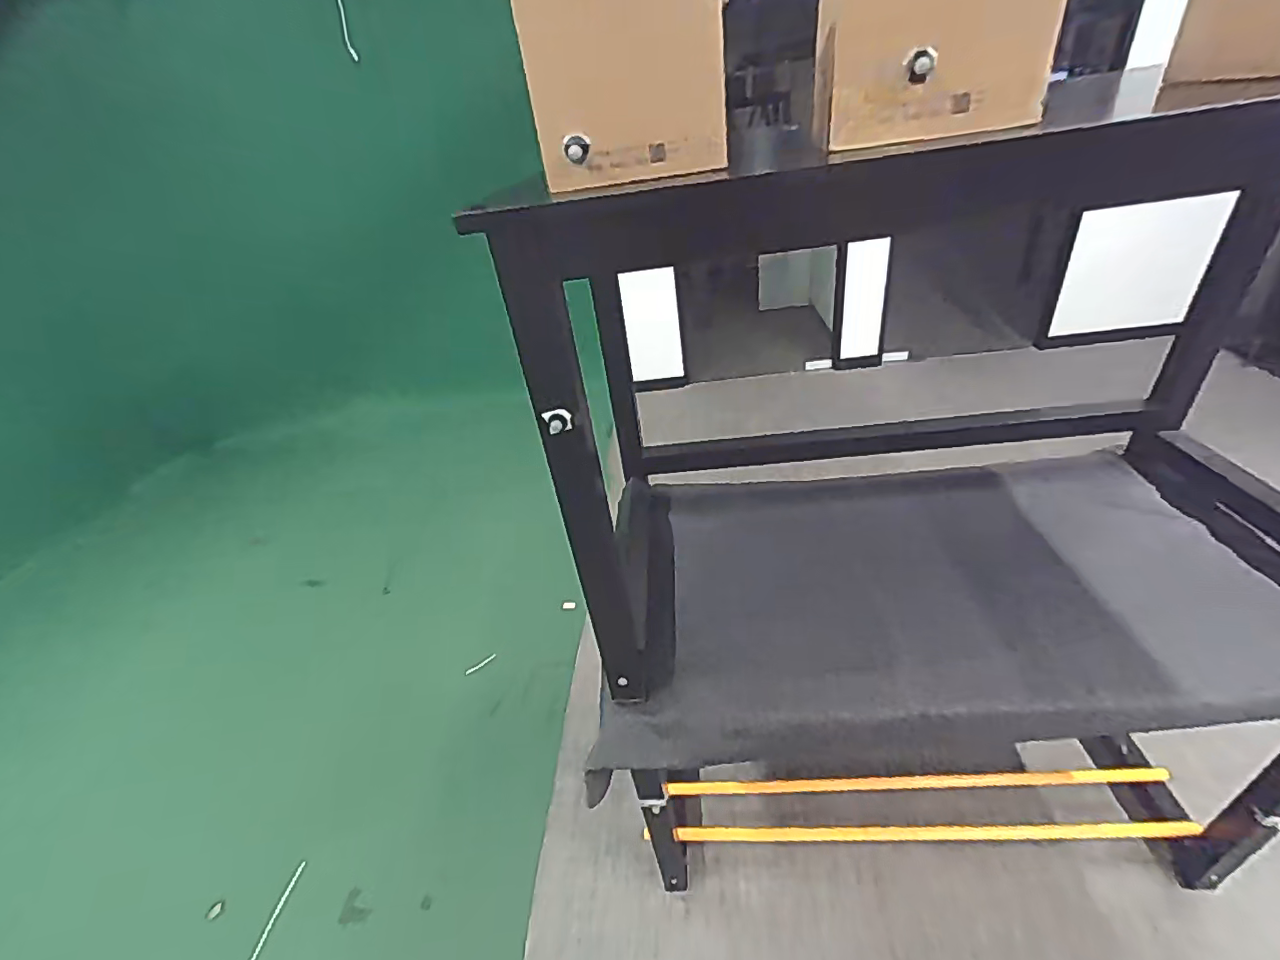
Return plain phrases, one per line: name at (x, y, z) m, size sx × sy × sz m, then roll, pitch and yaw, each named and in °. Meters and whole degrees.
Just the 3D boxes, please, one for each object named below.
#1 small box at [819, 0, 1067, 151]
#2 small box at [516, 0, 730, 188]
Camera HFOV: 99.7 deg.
small box at (0.257, -0.406, 0.489) m, size 0.168 × 0.176 × 0.179 m, roll 0°, pitch 35°, yaw 13°
small box at (-0.006, -0.386, 0.517) m, size 0.168 × 0.176 × 0.179 m, roll -5°, pitch 33°, yaw 6°
